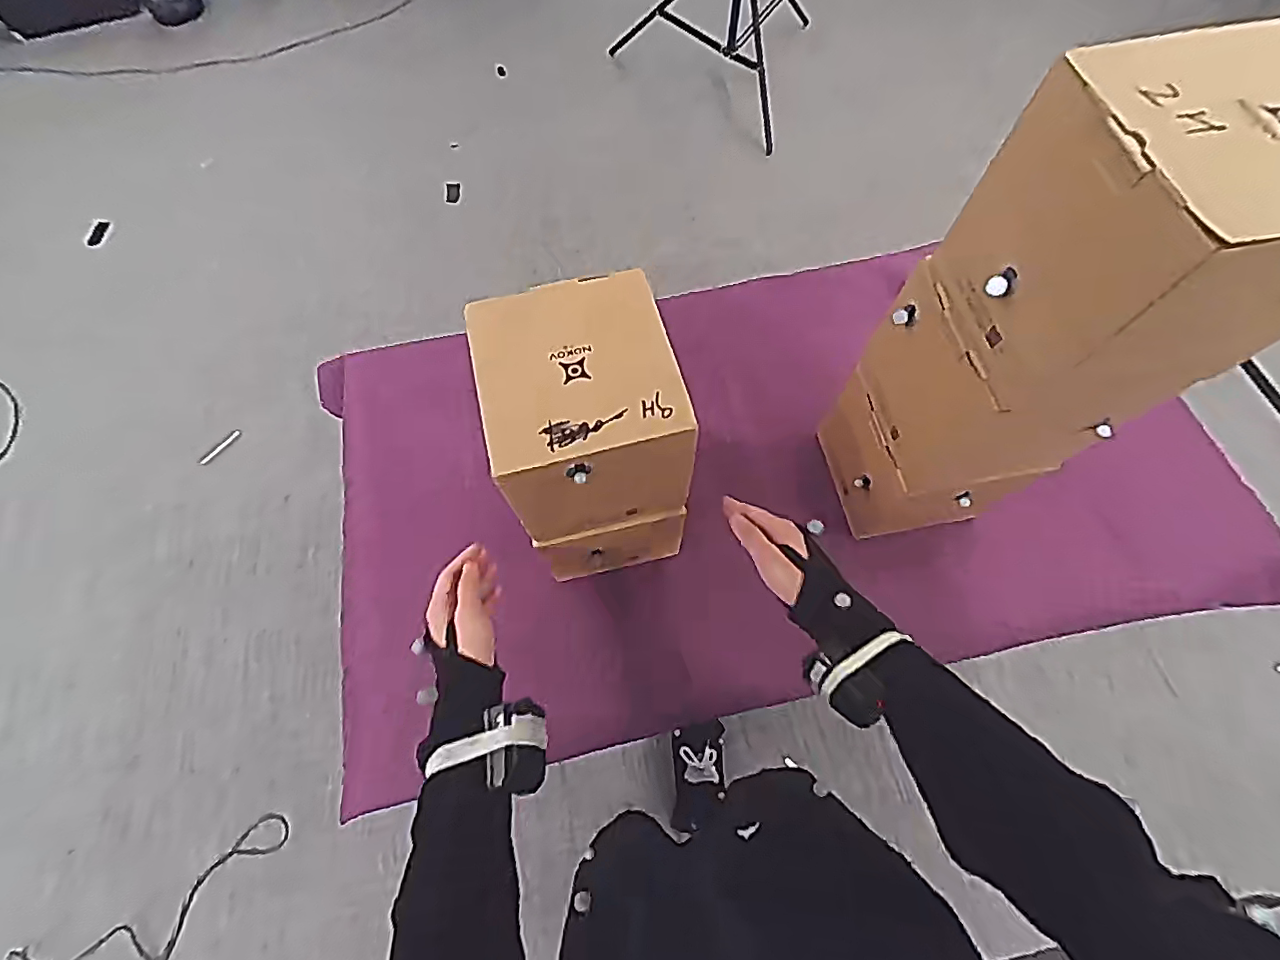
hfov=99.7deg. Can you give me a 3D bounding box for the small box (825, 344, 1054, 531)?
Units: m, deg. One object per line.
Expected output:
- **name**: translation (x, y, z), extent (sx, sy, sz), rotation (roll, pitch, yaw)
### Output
- **small box**: translation (0.351, -0.045, 0.683), extent (0.179, 0.176, 0.168), rotation (-10, 67, -4)

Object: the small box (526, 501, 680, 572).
- **small box**: translation (-0.050, 0.006, 0.670), extent (0.168, 0.176, 0.179), rotation (-13, 66, -4)

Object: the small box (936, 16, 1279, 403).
- **small box**: translation (0.355, -0.174, 0.379), extent (0.179, 0.176, 0.168), rotation (-11, 67, -3)

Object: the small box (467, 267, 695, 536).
- **small box**: translation (-0.054, -0.067, 0.522), extent (0.168, 0.176, 0.179), rotation (-14, 66, -4)
